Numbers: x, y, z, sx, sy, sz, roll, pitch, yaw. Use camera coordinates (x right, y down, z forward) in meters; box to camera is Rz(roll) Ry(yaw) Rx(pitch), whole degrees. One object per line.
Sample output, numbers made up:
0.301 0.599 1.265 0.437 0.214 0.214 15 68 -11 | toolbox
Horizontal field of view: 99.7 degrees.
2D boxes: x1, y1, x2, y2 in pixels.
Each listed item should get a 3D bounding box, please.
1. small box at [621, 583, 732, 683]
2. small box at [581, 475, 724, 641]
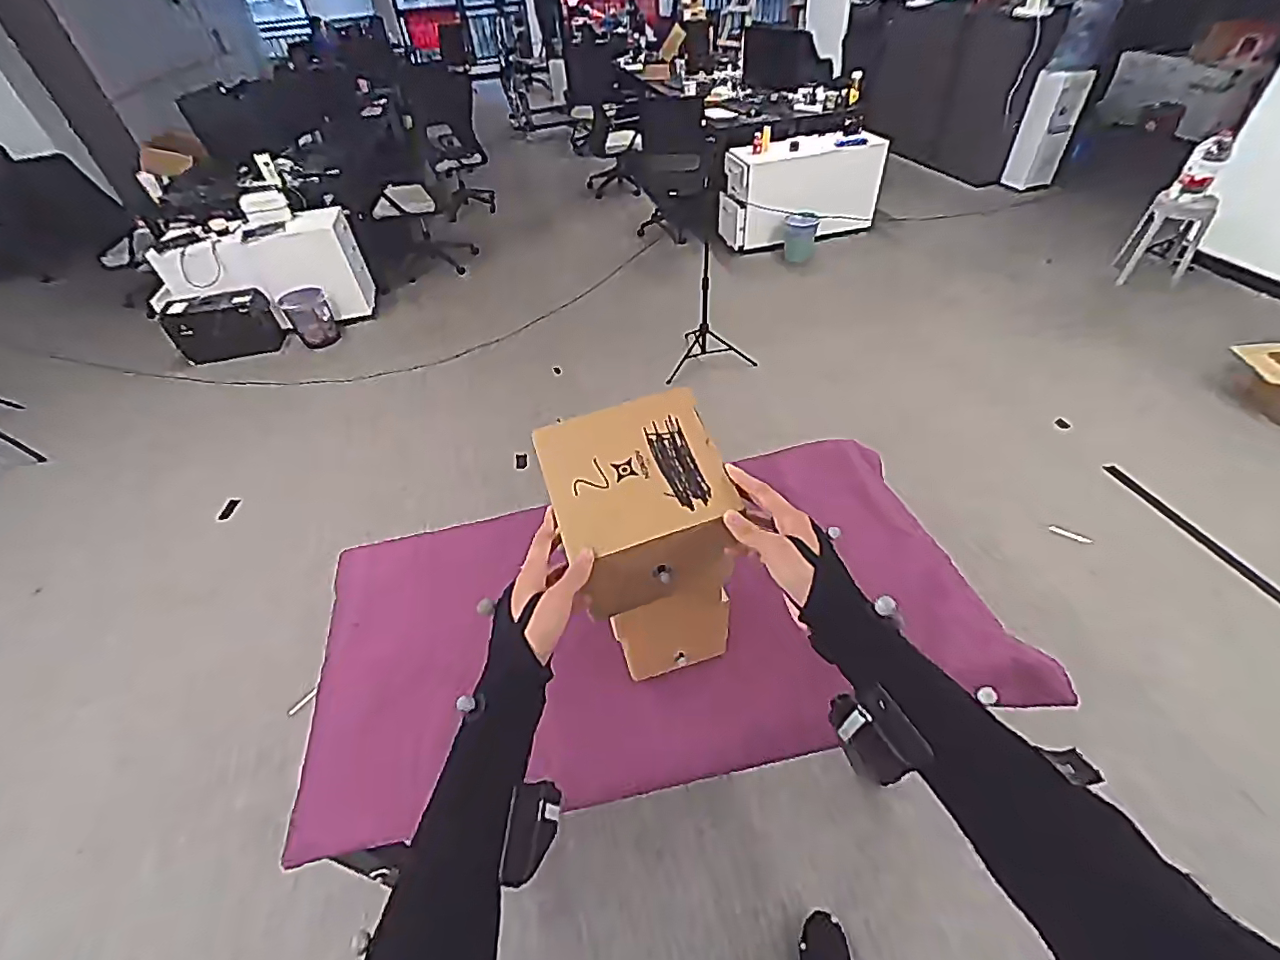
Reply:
0.047 0.229 0.958 0.179 0.176 0.168 -14 43 -10 | small box
0.020 0.122 0.836 0.179 0.176 0.168 -14 44 -9 | small box
